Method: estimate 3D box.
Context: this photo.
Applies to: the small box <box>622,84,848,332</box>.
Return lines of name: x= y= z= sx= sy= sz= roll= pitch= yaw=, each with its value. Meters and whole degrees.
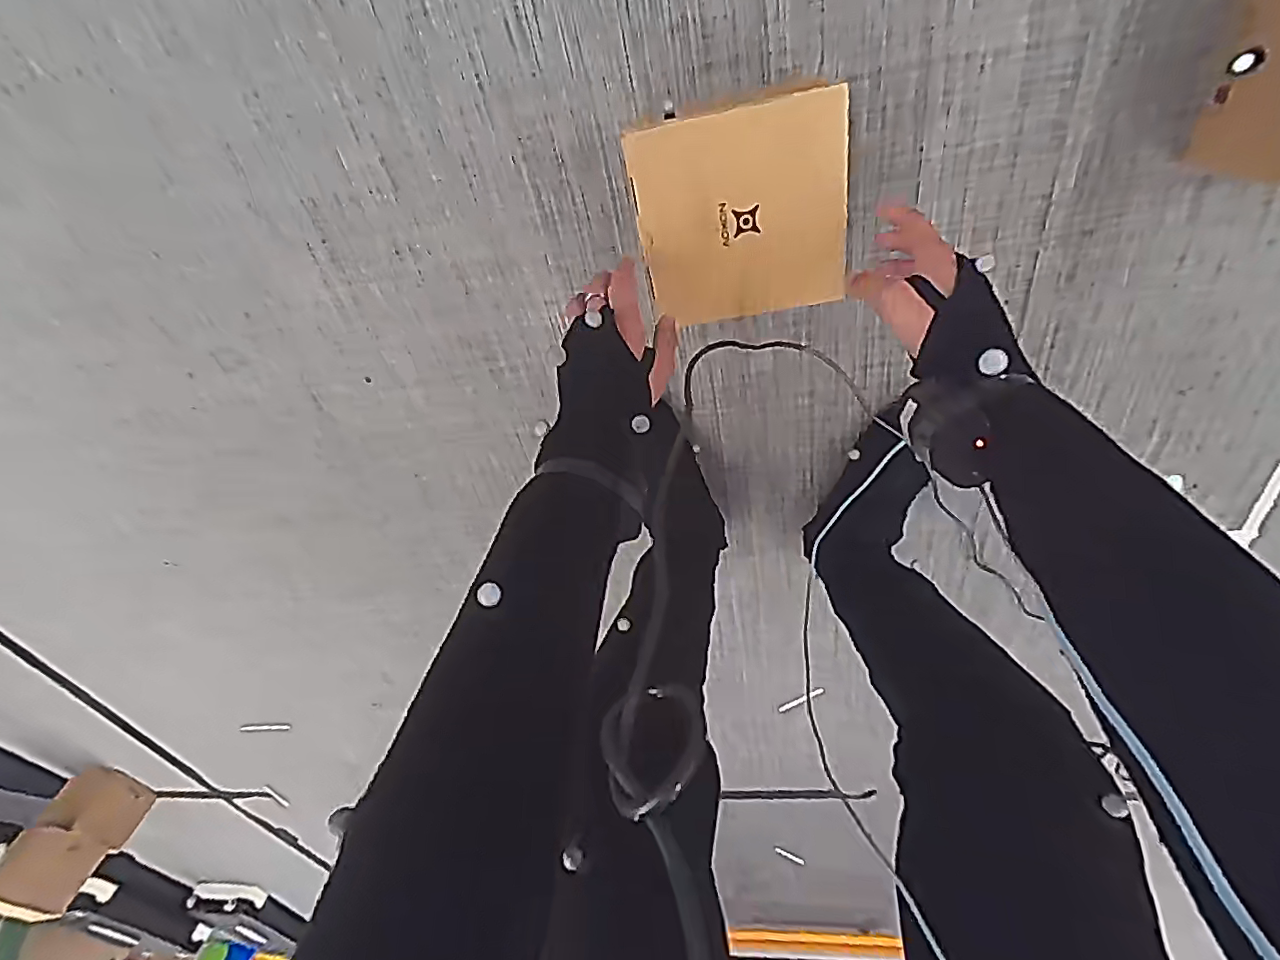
small box: x=0.090 y=-0.265 z=0.523 sx=0.179 sy=0.176 sz=0.168 roll=-6 pitch=127 yaw=11
